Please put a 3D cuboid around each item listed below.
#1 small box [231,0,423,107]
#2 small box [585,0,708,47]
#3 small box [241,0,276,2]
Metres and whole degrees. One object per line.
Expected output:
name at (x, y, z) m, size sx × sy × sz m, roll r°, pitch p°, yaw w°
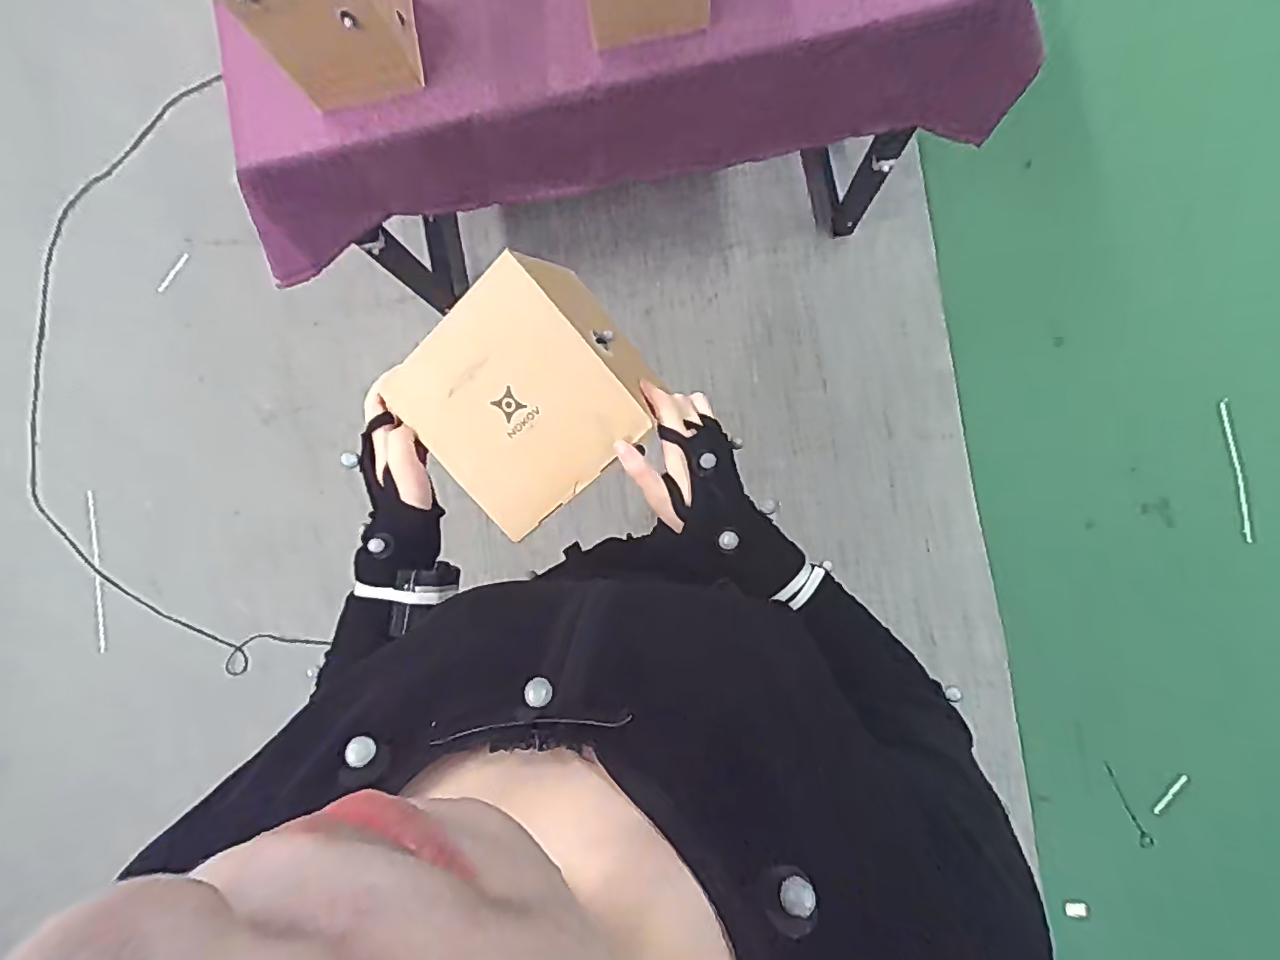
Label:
small box at (-0.434, -0.667, 0.759) m, size 0.179 × 0.176 × 0.168 m, roll -10°, pitch 86°, yaw 2°
small box at (0.001, -0.738, 0.735) m, size 0.179 × 0.176 × 0.168 m, roll -8°, pitch 87°, yaw 3°
small box at (-0.442, -0.680, 0.595) m, size 0.168 × 0.176 × 0.179 m, roll -10°, pitch 84°, yaw 2°
